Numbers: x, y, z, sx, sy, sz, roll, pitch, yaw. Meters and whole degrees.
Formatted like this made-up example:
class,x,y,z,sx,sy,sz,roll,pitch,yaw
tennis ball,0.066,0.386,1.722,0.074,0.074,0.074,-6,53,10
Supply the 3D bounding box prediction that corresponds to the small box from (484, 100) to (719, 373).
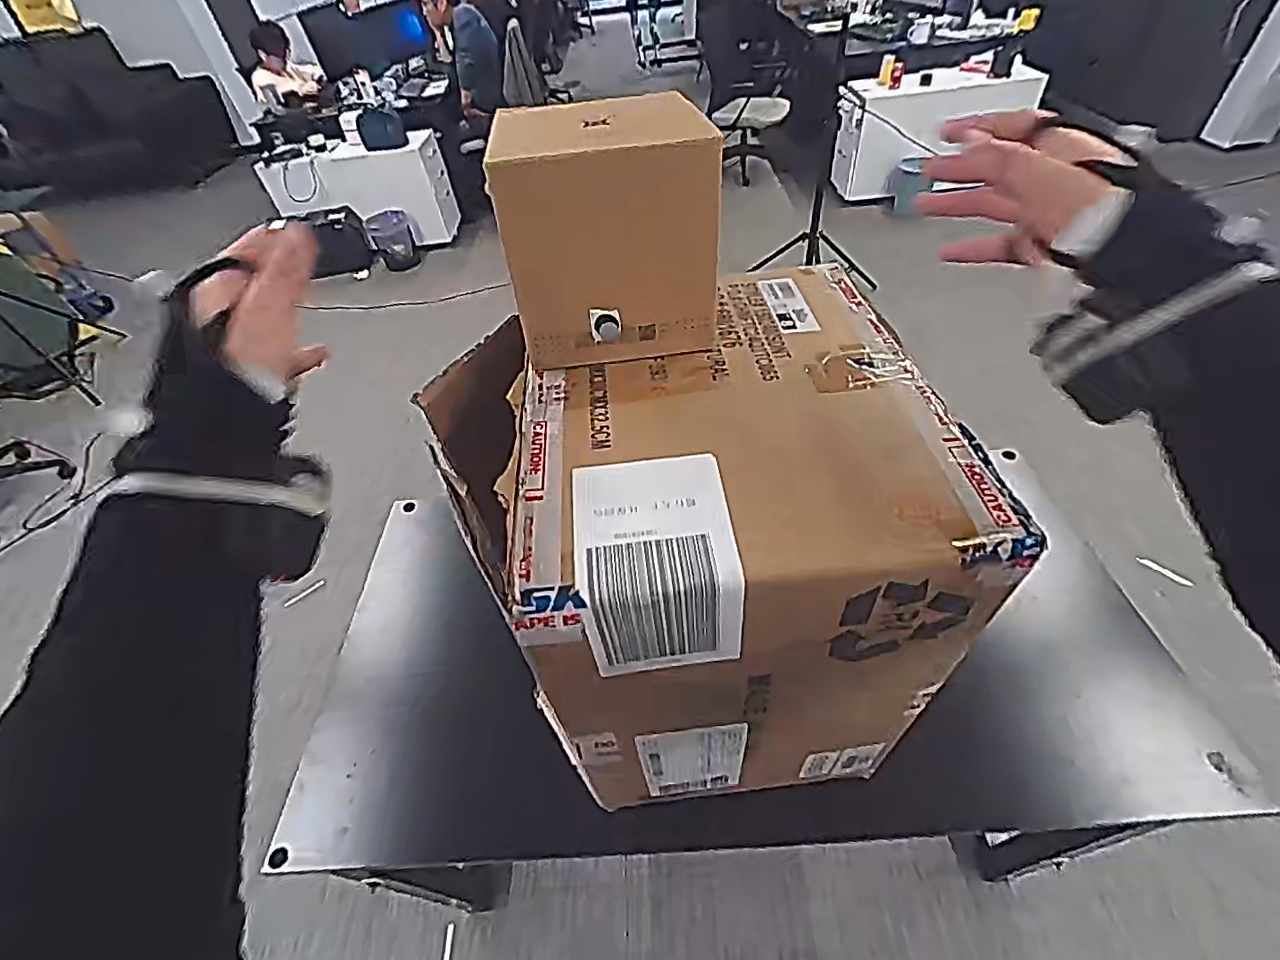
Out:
class,x,y,z,sx,sy,sz,roll,pitch,yaw
small box,-0.031,-0.219,0.486,0.168,0.176,0.179,-9,45,-3
